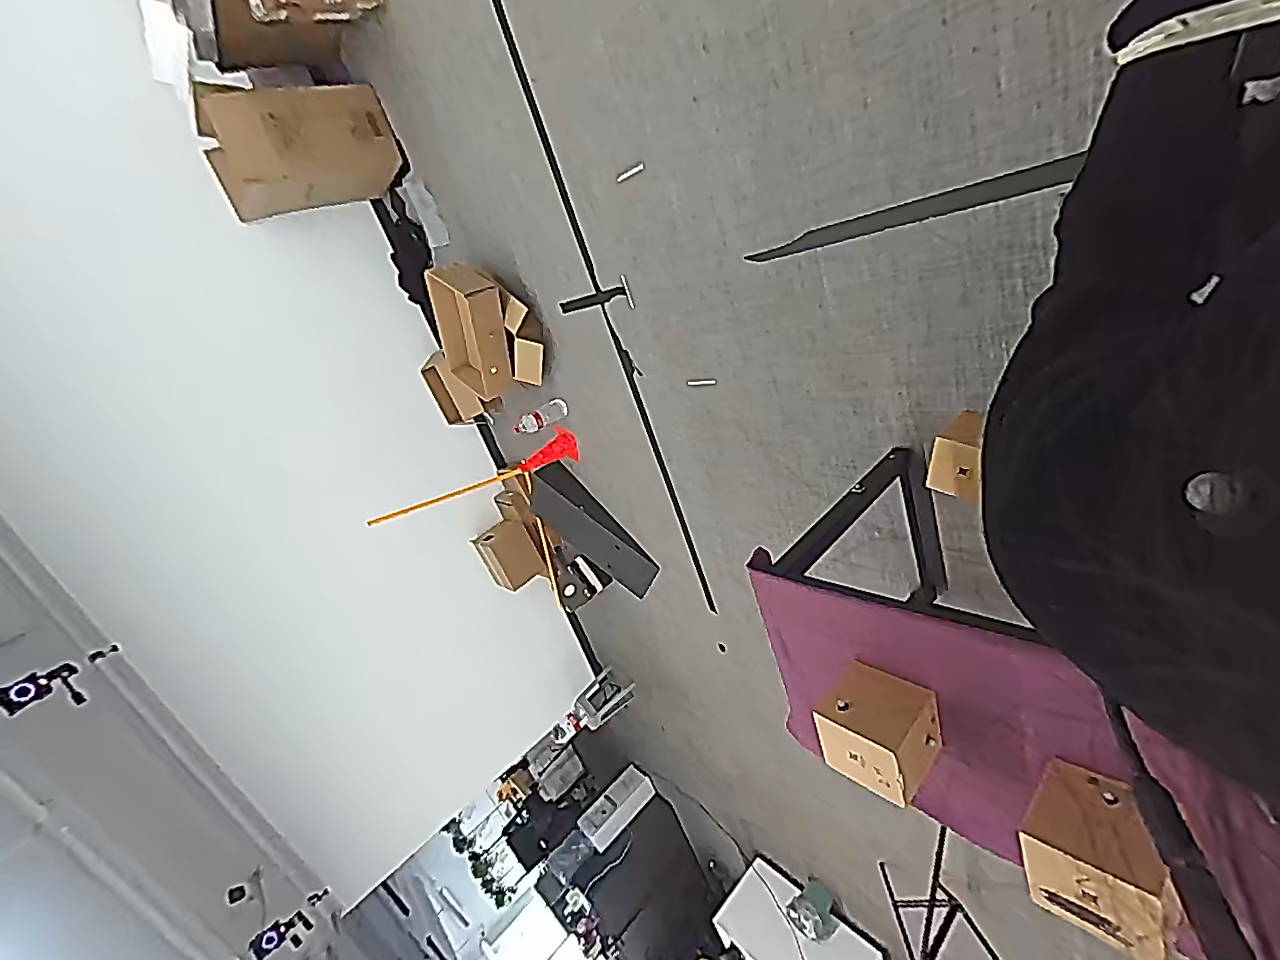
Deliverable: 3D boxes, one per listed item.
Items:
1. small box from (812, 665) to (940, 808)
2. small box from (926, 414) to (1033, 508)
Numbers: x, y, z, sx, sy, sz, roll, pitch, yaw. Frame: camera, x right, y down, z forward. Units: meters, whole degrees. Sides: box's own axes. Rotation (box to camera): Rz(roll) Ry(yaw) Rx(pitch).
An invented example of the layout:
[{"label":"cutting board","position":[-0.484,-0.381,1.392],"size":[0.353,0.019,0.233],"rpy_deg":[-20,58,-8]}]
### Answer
[{"label":"small box","position":[0.486,0.512,1.111],"size":[0.179,0.176,0.168],"rpy_deg":[10,127,50]},{"label":"small box","position":[0.898,-0.059,1.433],"size":[0.179,0.176,0.168],"rpy_deg":[25,137,39]}]
